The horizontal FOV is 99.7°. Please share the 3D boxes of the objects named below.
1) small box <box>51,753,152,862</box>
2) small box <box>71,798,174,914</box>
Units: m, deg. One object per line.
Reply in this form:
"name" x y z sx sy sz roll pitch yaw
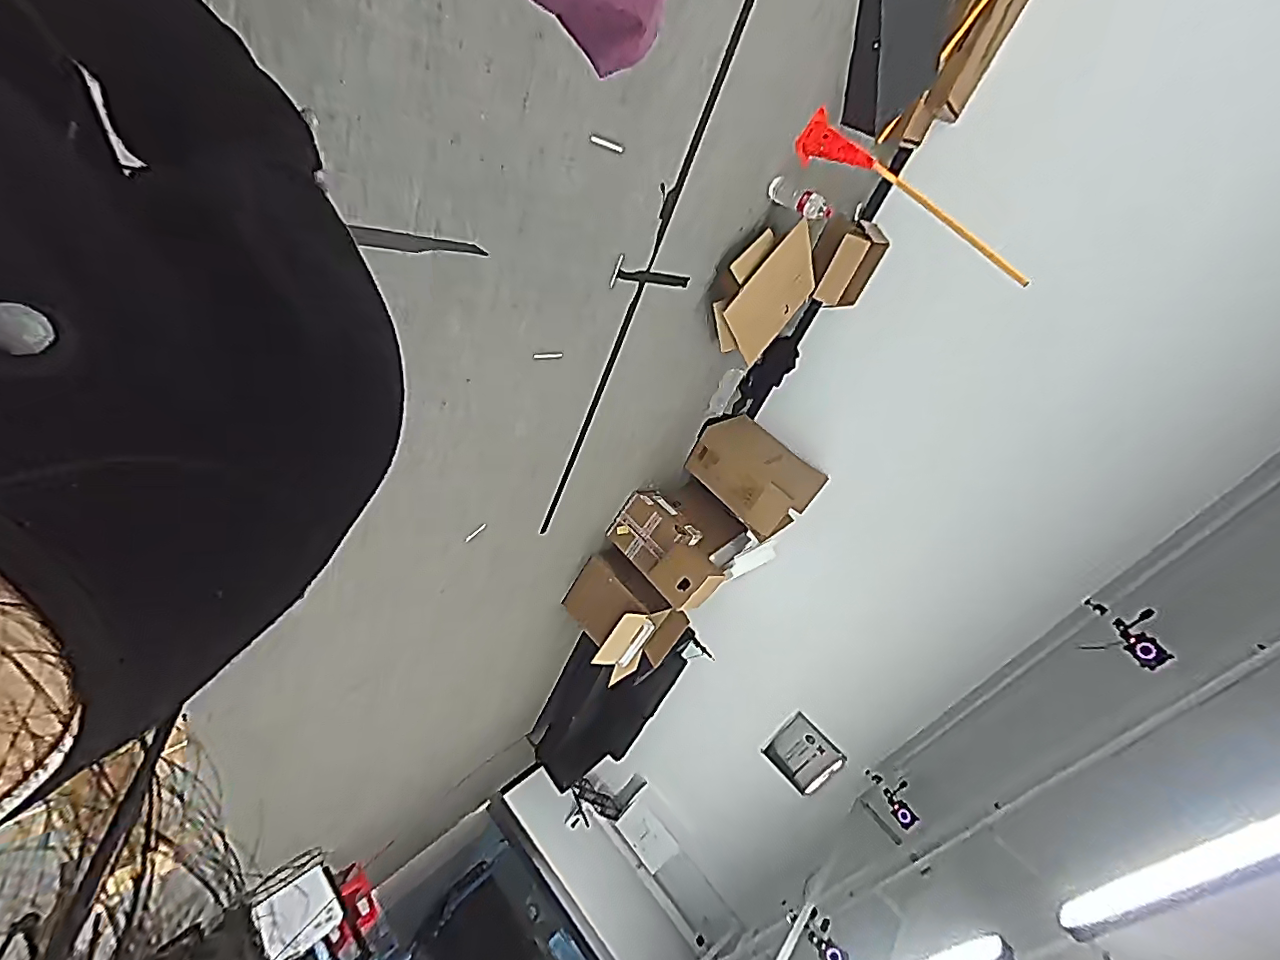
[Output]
"small box" -1.528 0.927 1.545 0.179 0.176 0.168 -19 141 -47
"small box" -1.411 1.018 1.478 0.168 0.176 0.179 -19 141 -48
